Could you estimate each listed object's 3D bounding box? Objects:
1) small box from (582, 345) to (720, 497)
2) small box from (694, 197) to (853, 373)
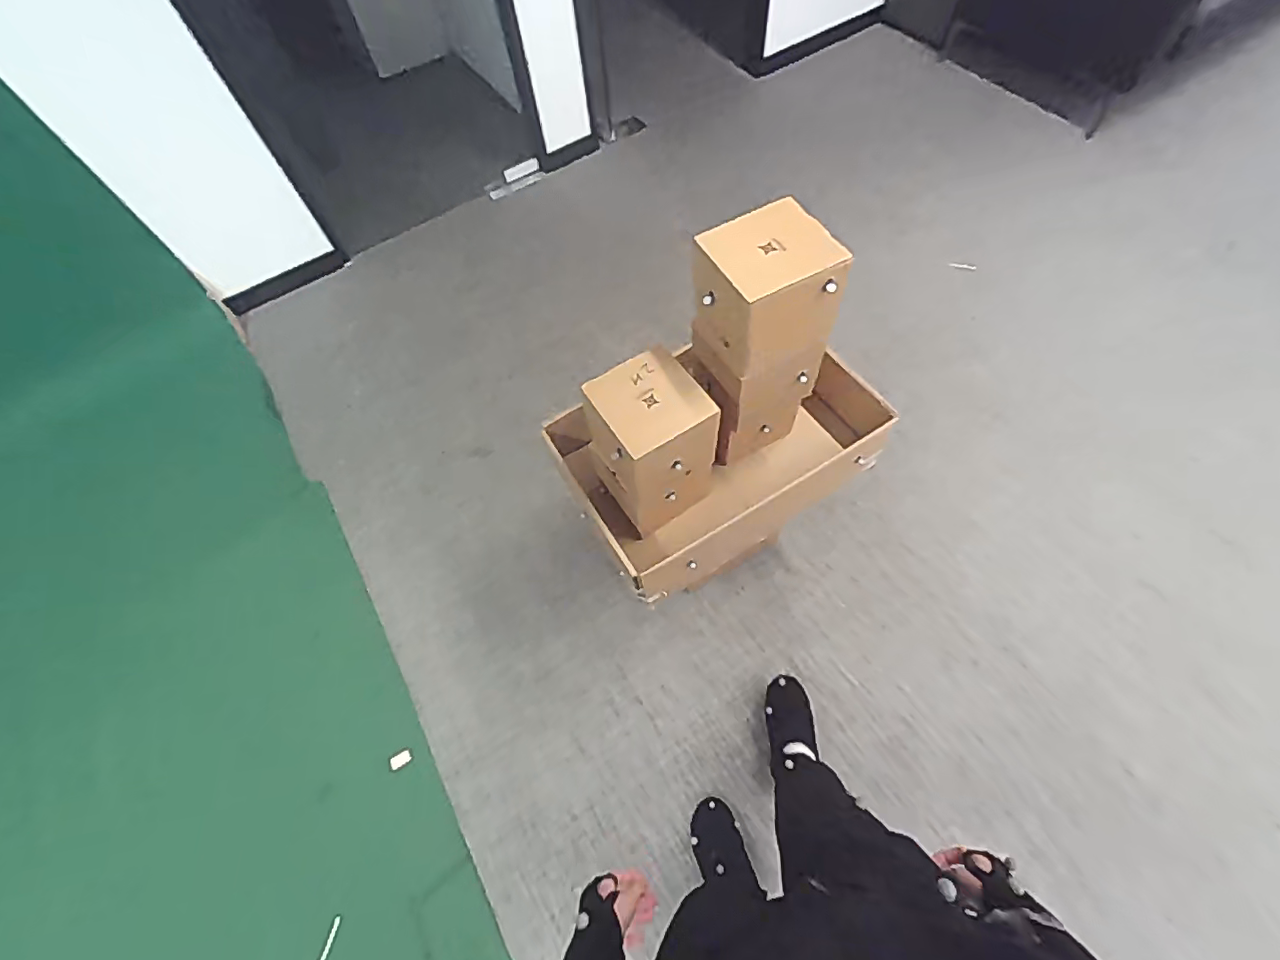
[{"bbox_3d":[0.021,-0.092,0.943,0.168,0.176,0.179,-30,64,-12],"label":"small box"},{"bbox_3d":[0.201,-0.301,0.858,0.179,0.176,0.168,-26,62,-7],"label":"small box"}]
